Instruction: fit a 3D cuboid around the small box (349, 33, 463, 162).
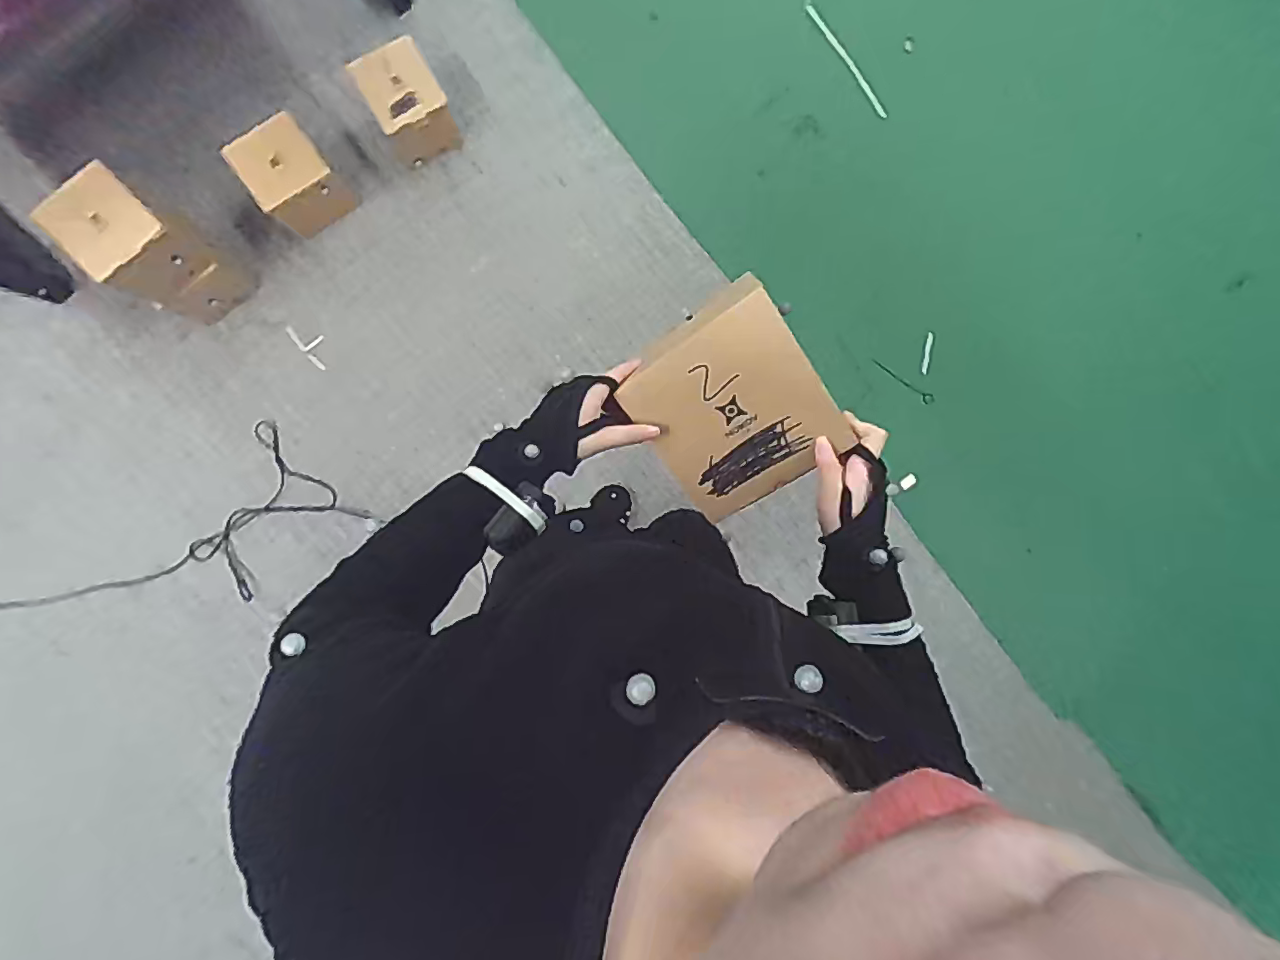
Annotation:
[{"bbox_3d":[-0.562,-0.921,1.325,0.168,0.176,0.179,-30,94,-4],"label":"small box"}]
